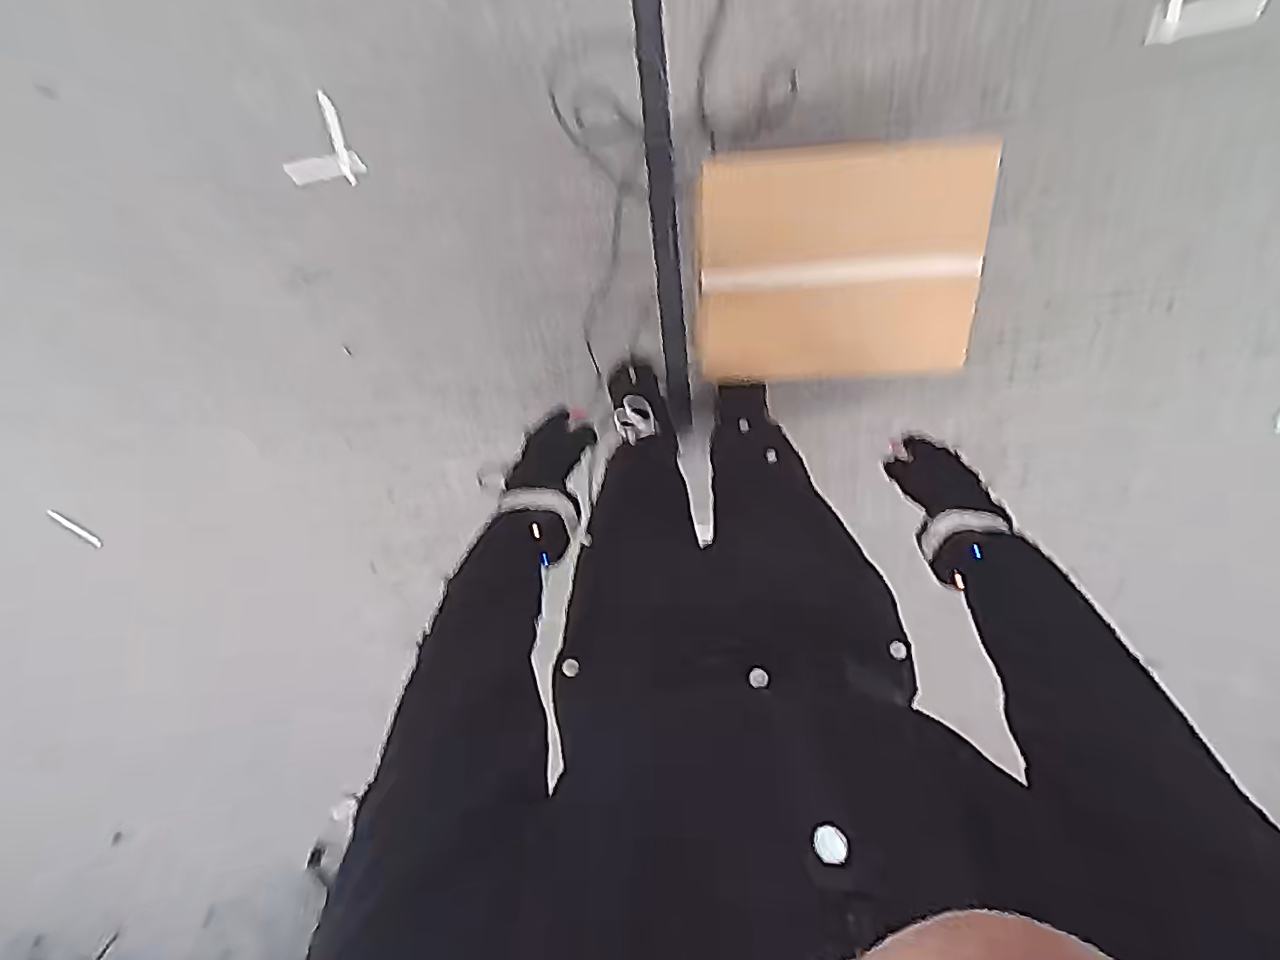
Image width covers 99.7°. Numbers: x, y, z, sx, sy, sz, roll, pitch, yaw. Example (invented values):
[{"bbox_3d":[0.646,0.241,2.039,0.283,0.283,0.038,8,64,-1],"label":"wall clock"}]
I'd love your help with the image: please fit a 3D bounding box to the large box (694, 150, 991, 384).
[{"bbox_3d":[0.306,-0.365,0.955,0.408,0.320,0.320,-2,114,4],"label":"large box"}]
